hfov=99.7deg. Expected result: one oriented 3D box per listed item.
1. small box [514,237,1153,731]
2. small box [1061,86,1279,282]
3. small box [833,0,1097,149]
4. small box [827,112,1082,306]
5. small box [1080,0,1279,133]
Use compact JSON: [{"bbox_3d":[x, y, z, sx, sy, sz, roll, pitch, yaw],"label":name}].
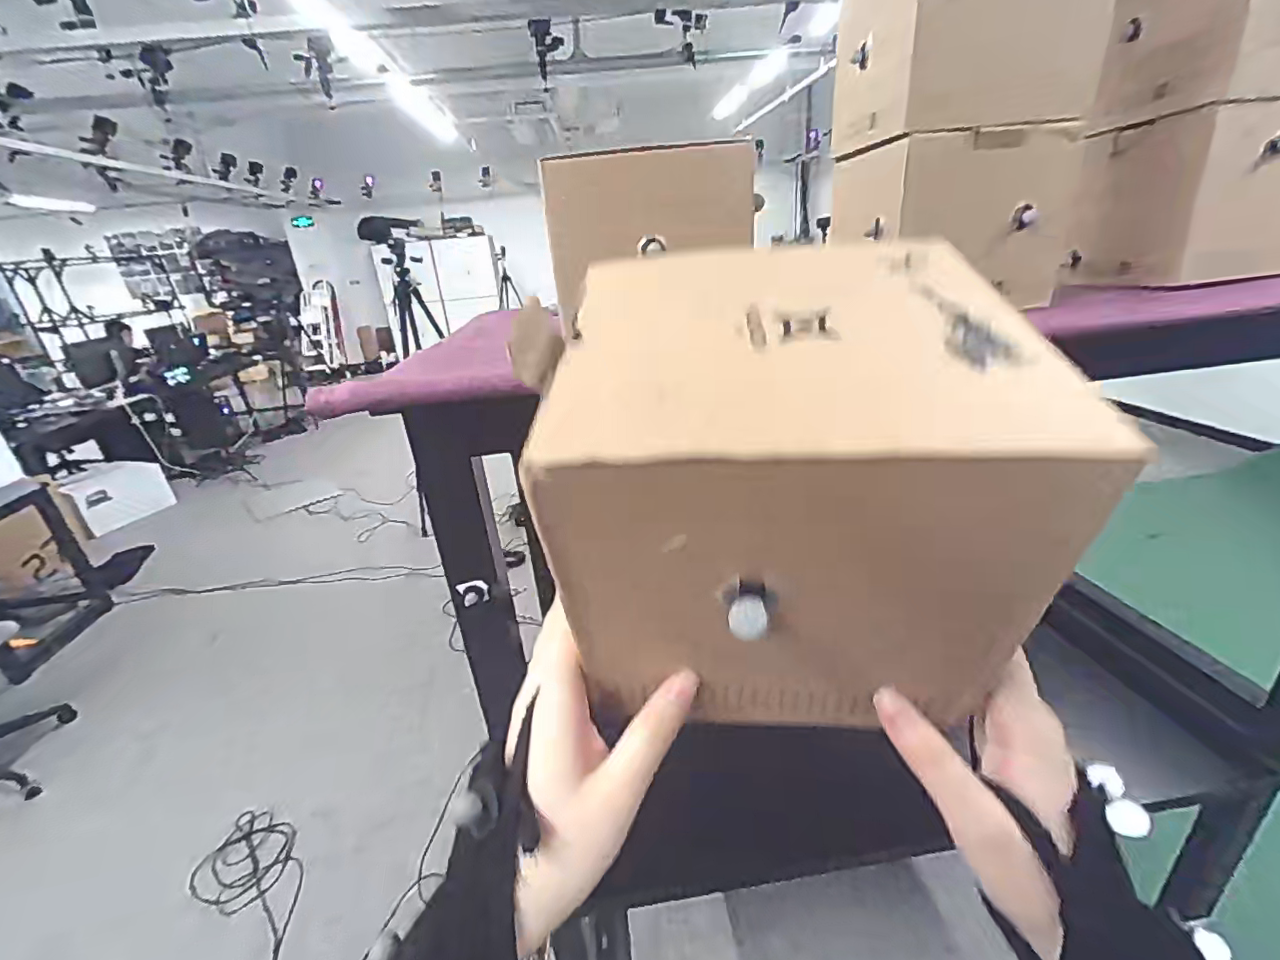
[{"bbox_3d":[0.062,0.003,0.259,0.179,0.176,0.168,-2,42,7],"label":"small box"},{"bbox_3d":[0.622,-0.321,0.612,0.179,0.176,0.168,-8,21,-4],"label":"small box"},{"bbox_3d":[0.299,-0.424,0.519,0.179,0.176,0.168,-6,24,-2],"label":"small box"},{"bbox_3d":[0.314,-0.273,0.584,0.168,0.176,0.179,-6,23,-3],"label":"small box"},{"bbox_3d":[0.603,-0.473,0.558,0.179,0.176,0.168,-8,21,-4],"label":"small box"}]
